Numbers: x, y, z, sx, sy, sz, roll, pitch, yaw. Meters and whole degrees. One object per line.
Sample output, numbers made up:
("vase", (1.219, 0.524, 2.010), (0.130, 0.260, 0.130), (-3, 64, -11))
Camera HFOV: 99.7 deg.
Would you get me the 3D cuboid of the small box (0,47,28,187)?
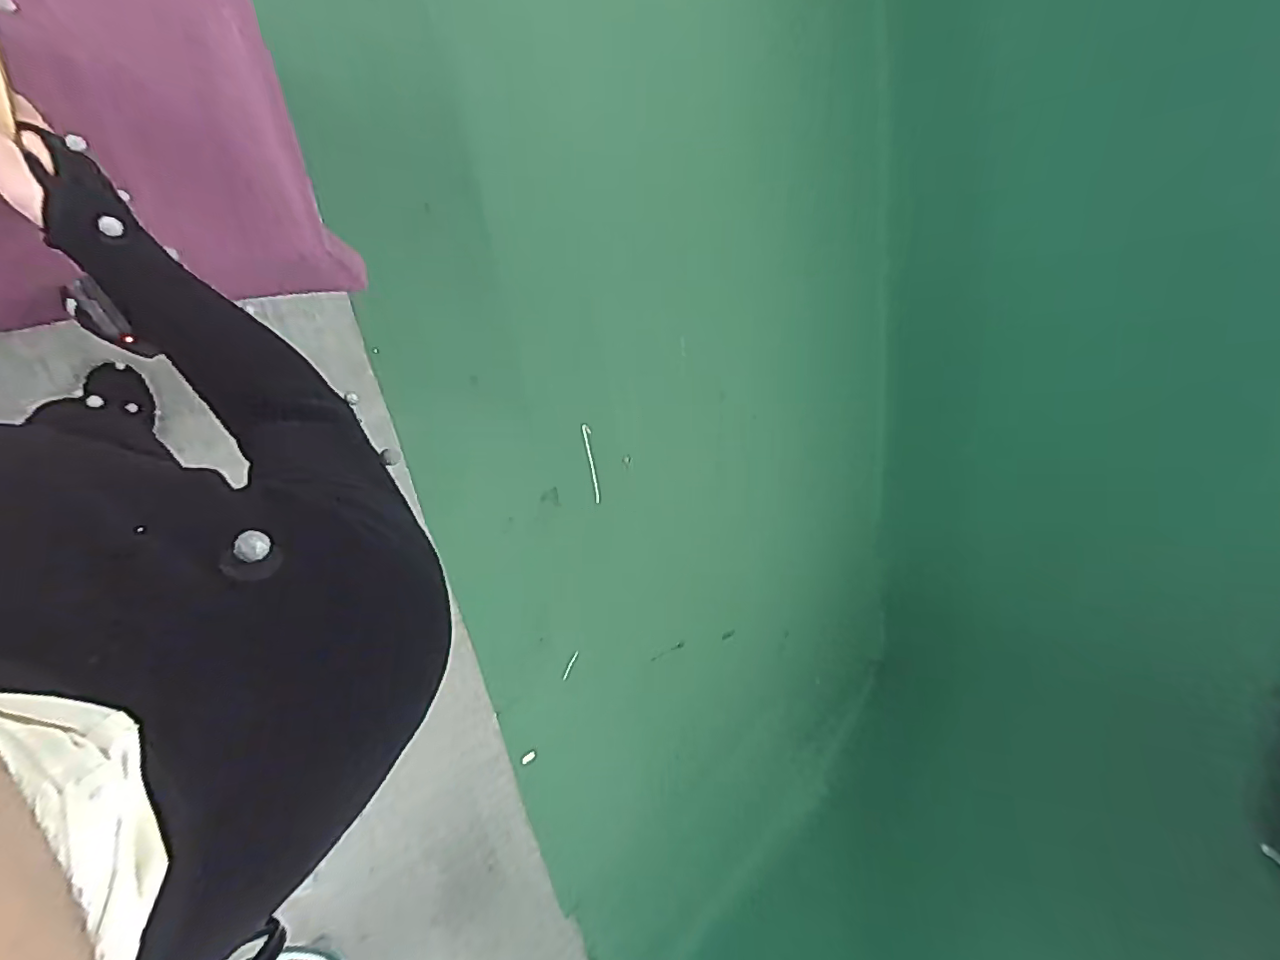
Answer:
("small box", (-0.628, -0.357, 0.425), (0.168, 0.176, 0.179), (-13, 109, -42))
